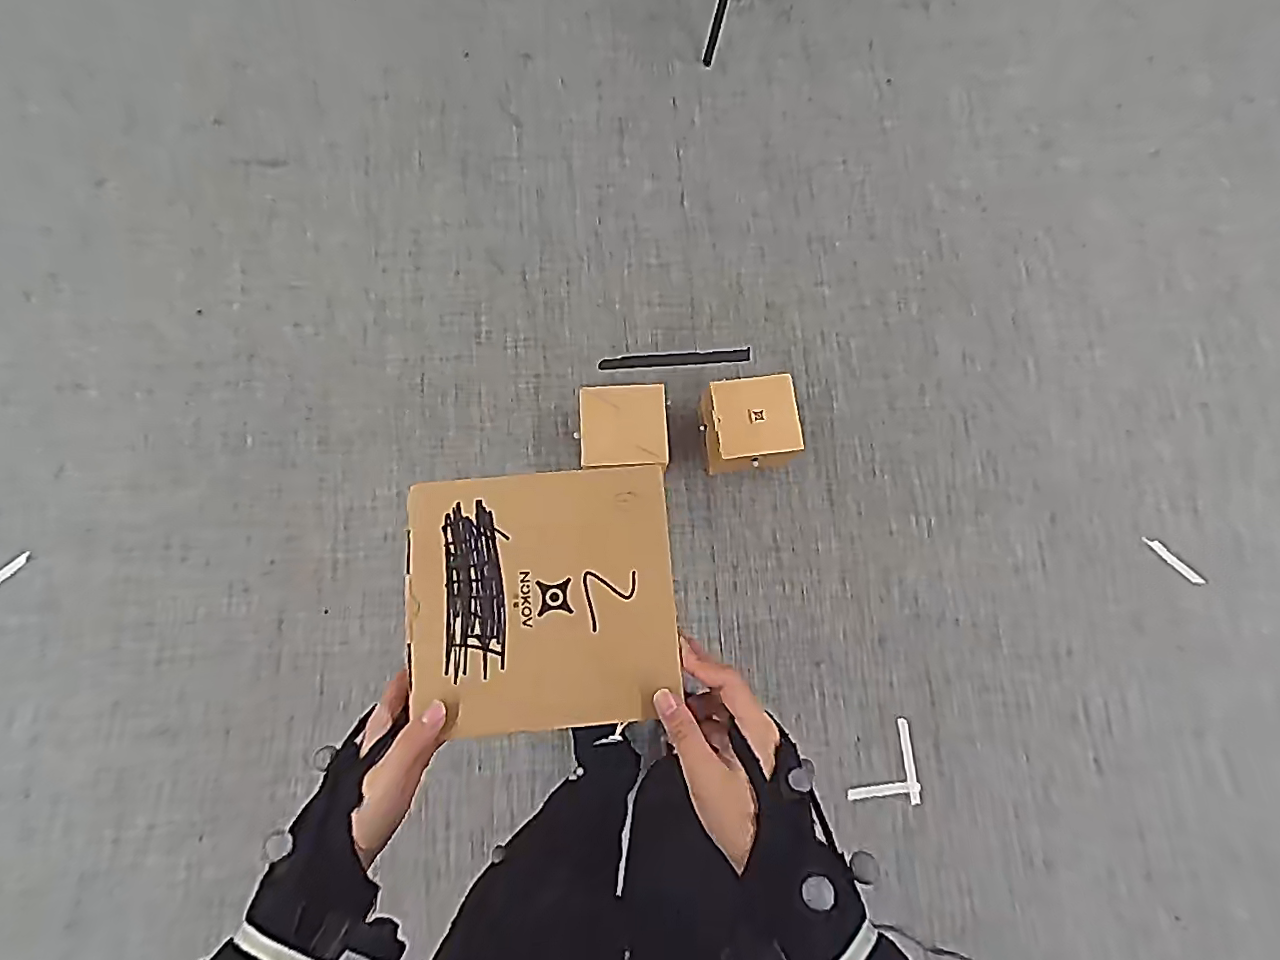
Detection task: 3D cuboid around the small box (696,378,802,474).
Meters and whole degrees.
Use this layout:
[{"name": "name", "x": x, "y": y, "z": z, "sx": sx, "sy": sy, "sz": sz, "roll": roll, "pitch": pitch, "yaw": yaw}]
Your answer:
[{"name": "small box", "x": 0.232, "y": -0.113, "z": 1.190, "sx": 0.179, "sy": 0.176, "sz": 0.168, "roll": -8, "pitch": 81, "yaw": -4}]

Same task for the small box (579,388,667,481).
[{"name": "small box", "x": -0.037, "y": -0.095, "z": 1.171, "sx": 0.179, "sy": 0.176, "sz": 0.168, "roll": -3, "pitch": 81, "yaw": -3}]
